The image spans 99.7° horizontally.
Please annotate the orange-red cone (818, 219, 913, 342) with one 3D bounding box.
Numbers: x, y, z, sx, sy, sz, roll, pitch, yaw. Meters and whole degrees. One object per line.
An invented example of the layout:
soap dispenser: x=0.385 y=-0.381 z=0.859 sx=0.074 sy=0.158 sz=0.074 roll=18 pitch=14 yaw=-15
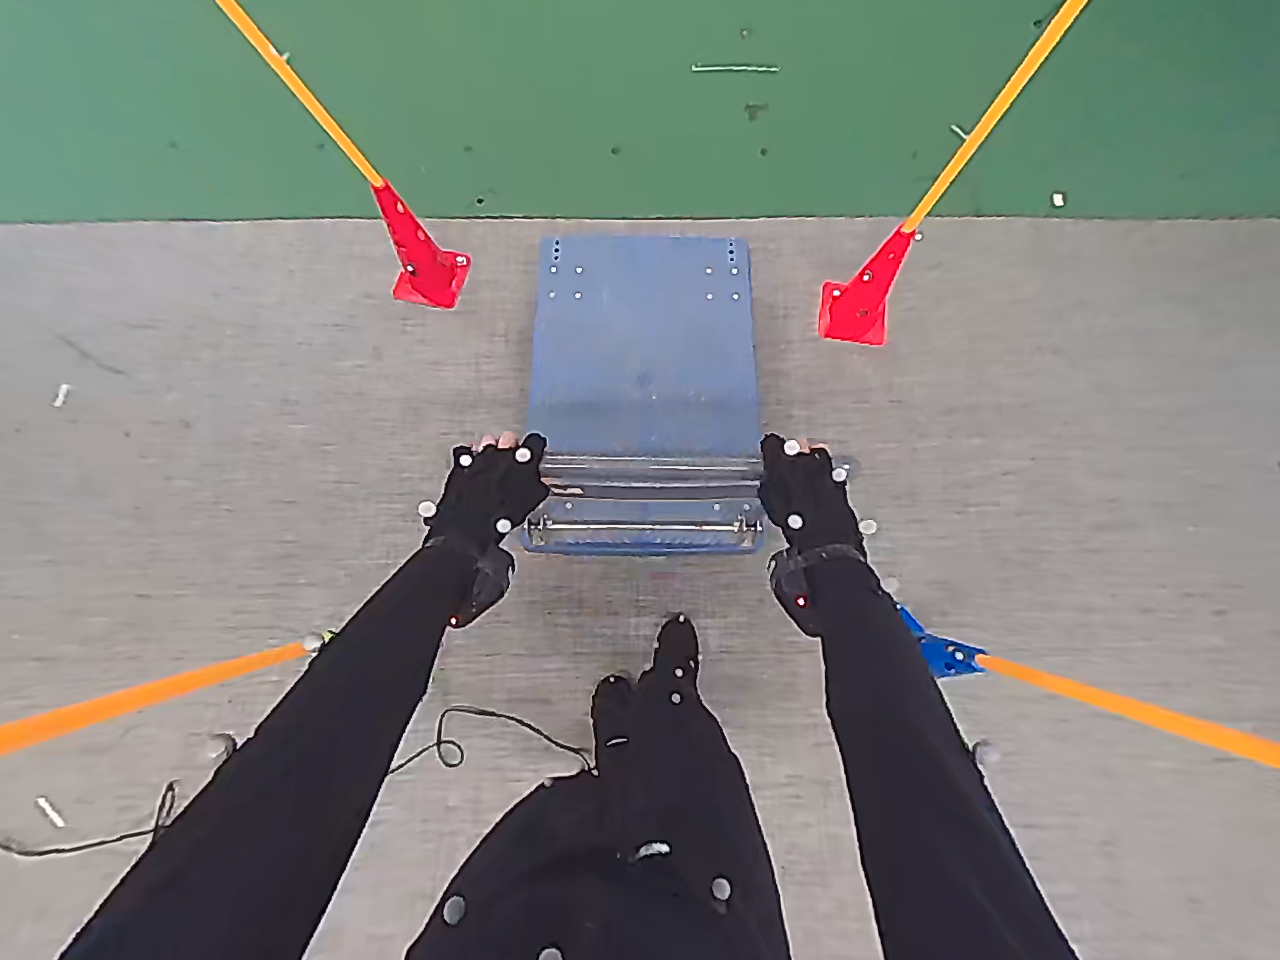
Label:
orange-red cone: x=0.638 y=-0.557 z=1.457 sx=0.198 sy=0.360 sz=0.199 roll=10 pitch=75 yaw=4
